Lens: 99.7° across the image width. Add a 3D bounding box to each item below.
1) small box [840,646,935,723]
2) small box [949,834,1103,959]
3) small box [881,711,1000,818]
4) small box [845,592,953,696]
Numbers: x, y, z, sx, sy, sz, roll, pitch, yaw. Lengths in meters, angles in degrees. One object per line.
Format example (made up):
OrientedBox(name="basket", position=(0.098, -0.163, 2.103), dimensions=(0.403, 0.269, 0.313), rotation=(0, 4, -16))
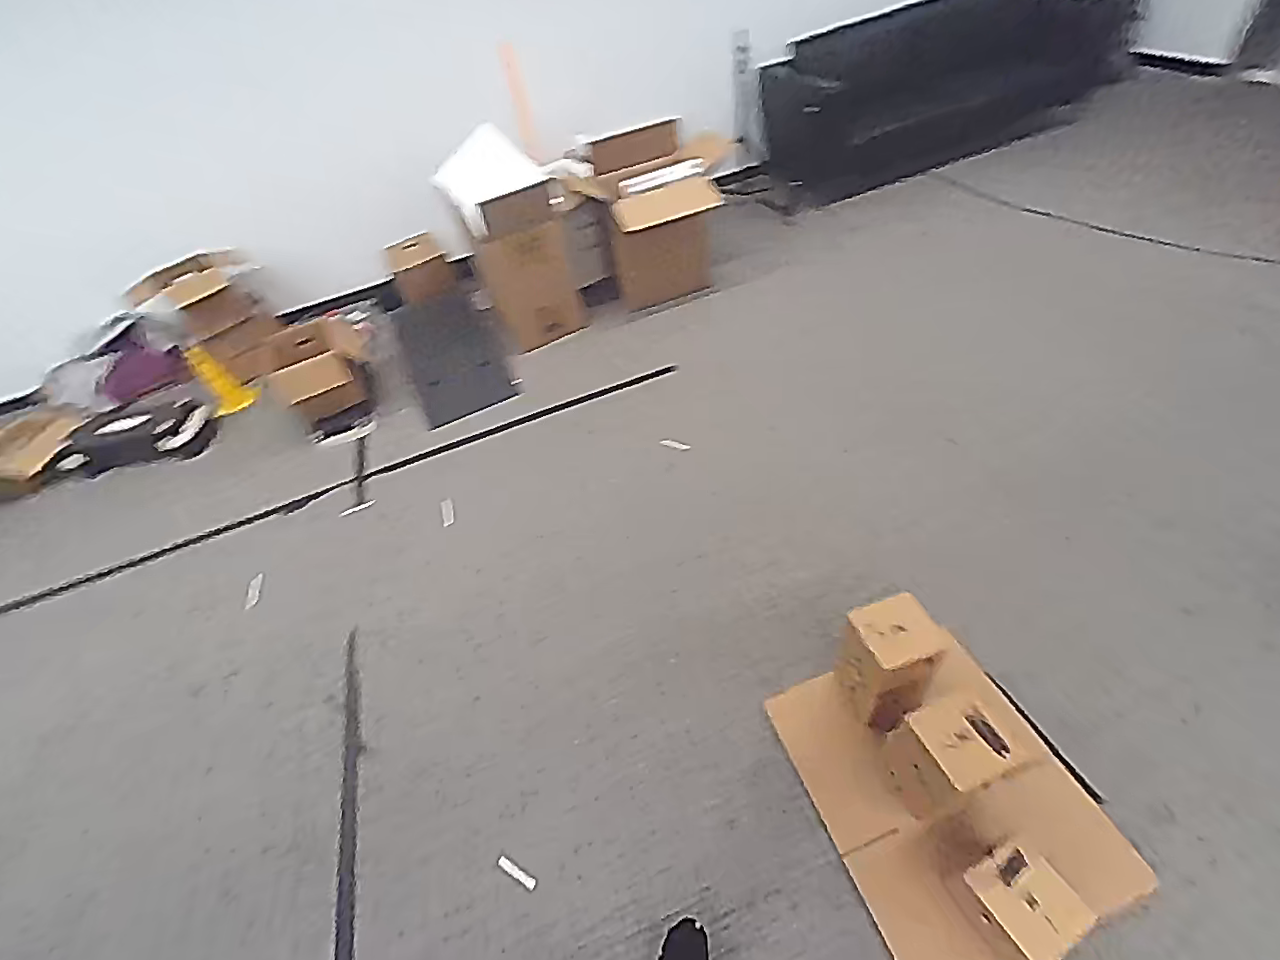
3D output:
OrientedBox(name="small box", position=(0.663, 0.536, 1.474), dimensions=(0.179, 0.176, 0.168), rotation=(-19, 46, -4))
OrientedBox(name="small box", position=(0.785, 0.886, 1.125), dimensions=(0.168, 0.176, 0.179), rotation=(-27, 48, -12))
OrientedBox(name="small box", position=(0.719, 0.694, 1.317), dimensions=(0.179, 0.176, 0.168), rotation=(-18, 47, -4))
OrientedBox(name="small box", position=(0.641, 0.416, 1.363), dimensions=(0.179, 0.176, 0.168), rotation=(-18, 46, -4))
